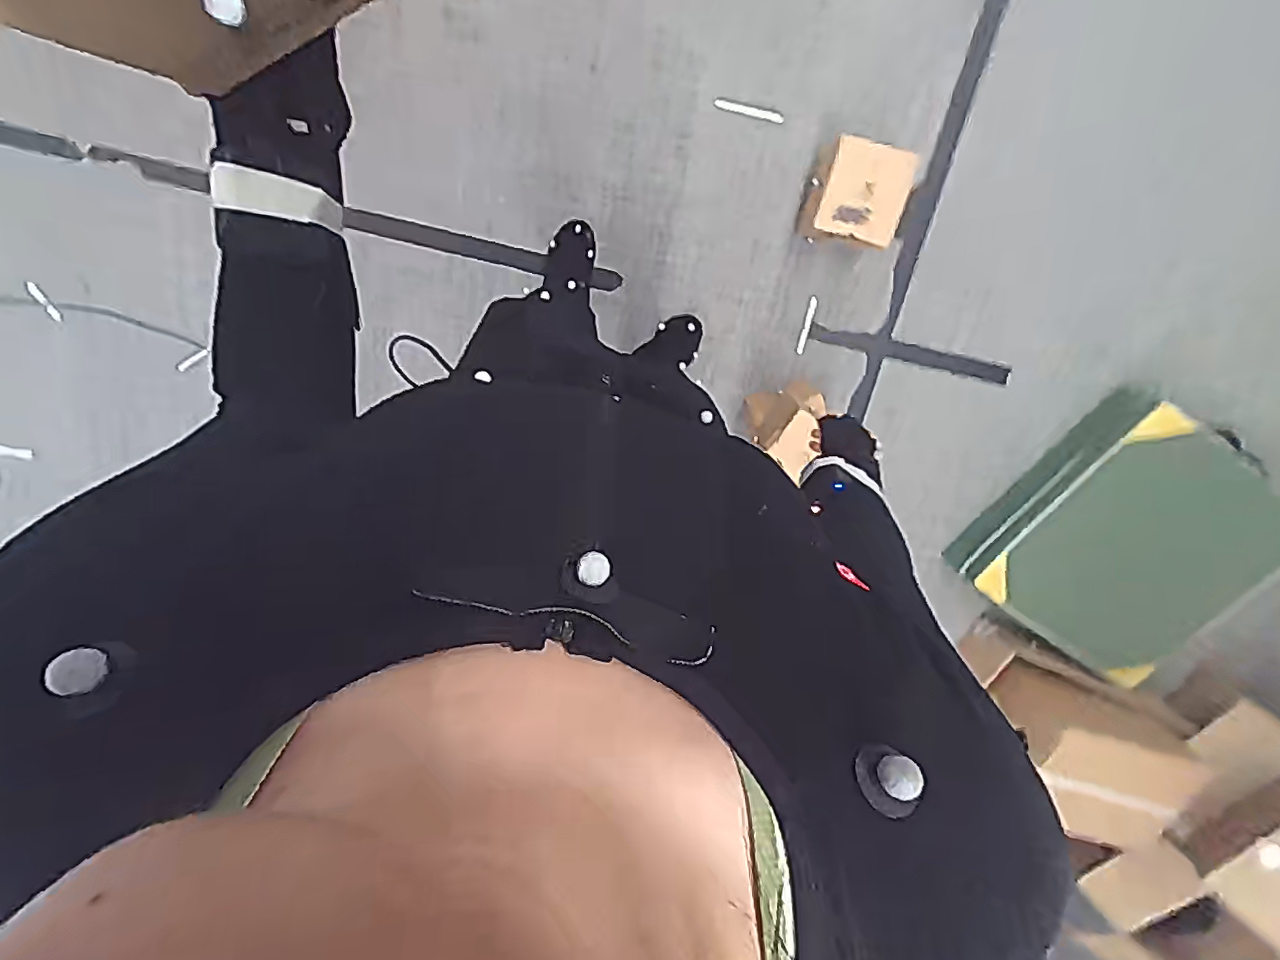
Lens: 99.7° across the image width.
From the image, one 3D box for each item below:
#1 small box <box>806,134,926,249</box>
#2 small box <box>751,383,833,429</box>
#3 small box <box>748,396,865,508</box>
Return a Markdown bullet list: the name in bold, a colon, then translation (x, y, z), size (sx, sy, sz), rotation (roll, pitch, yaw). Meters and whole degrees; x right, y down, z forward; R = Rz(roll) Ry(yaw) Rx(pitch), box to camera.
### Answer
- **small box**: translation (0.476, -0.614, 1.174), size (0.168, 0.176, 0.179), rotation (15, 110, -2)
- **small box**: translation (0.388, -0.135, 1.370), size (0.168, 0.176, 0.179), rotation (-18, 110, 11)
- **small box**: translation (0.363, -0.072, 1.218), size (0.179, 0.176, 0.168), rotation (35, 111, -10)
